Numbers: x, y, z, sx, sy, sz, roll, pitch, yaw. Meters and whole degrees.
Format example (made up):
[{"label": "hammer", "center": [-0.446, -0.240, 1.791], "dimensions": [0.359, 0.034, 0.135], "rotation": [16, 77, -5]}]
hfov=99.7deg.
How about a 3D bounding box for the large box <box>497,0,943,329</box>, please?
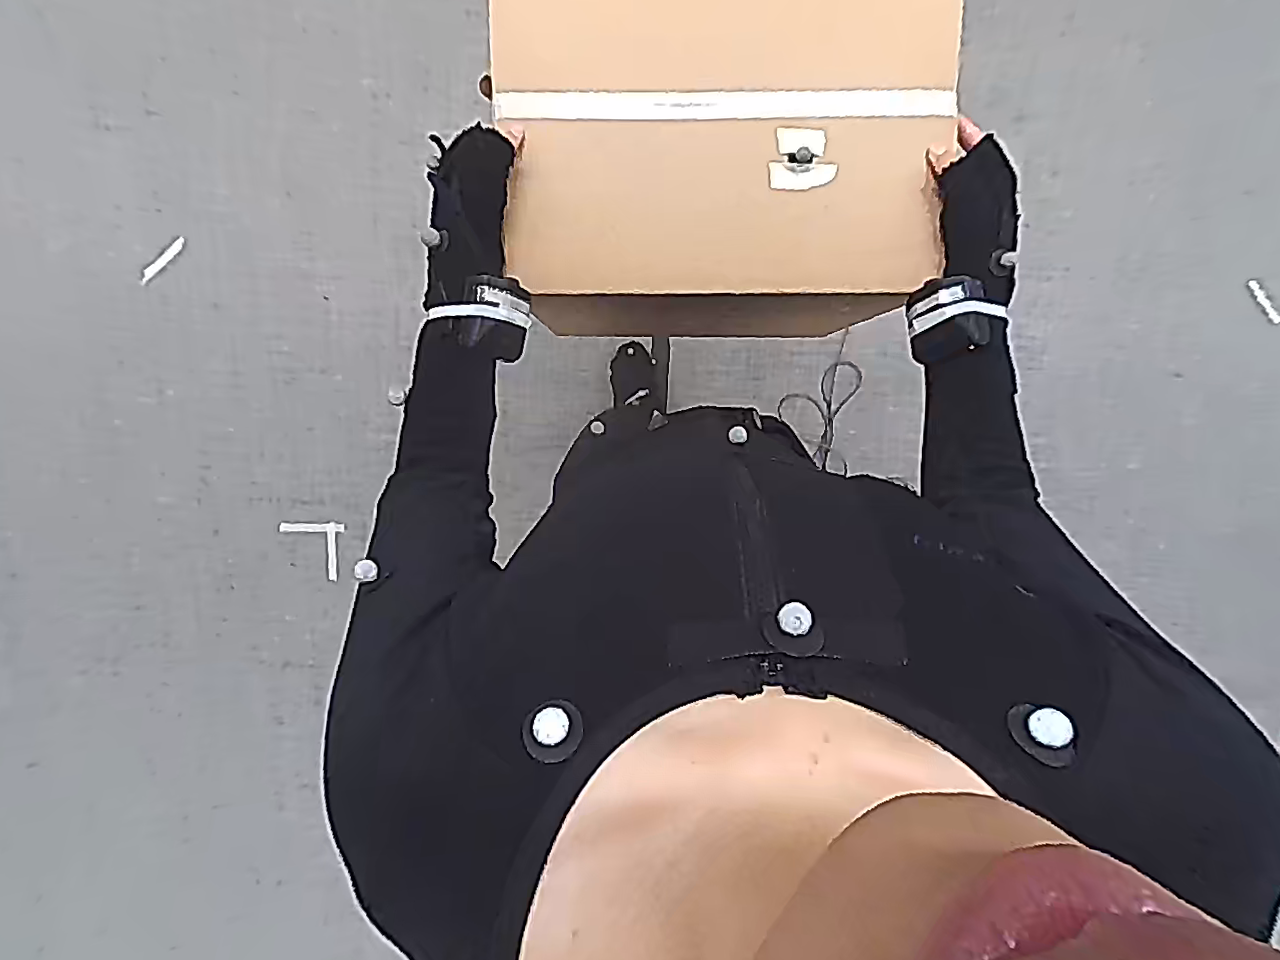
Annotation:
[{"label": "large box", "center": [0.069, -0.361, 0.638], "dimensions": [0.408, 0.320, 0.320], "rotation": [-1, 98, -1]}]
